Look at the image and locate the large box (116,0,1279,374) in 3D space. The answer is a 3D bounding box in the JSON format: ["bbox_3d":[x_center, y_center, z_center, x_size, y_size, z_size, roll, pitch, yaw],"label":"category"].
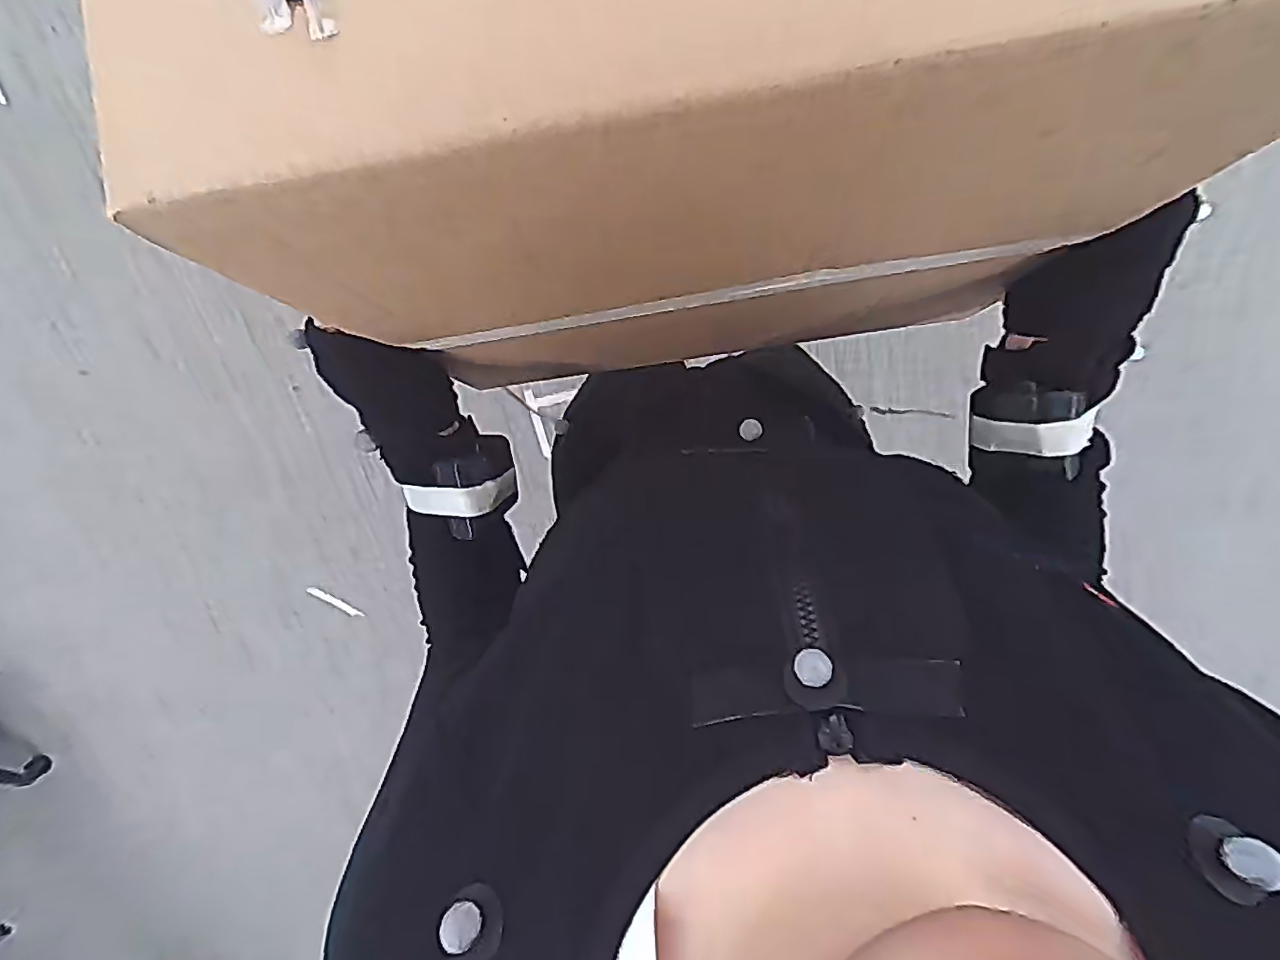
[{"bbox_3d":[0.027,-0.269,0.304,0.408,0.320,0.320,-8,90,4],"label":"large box"}]
